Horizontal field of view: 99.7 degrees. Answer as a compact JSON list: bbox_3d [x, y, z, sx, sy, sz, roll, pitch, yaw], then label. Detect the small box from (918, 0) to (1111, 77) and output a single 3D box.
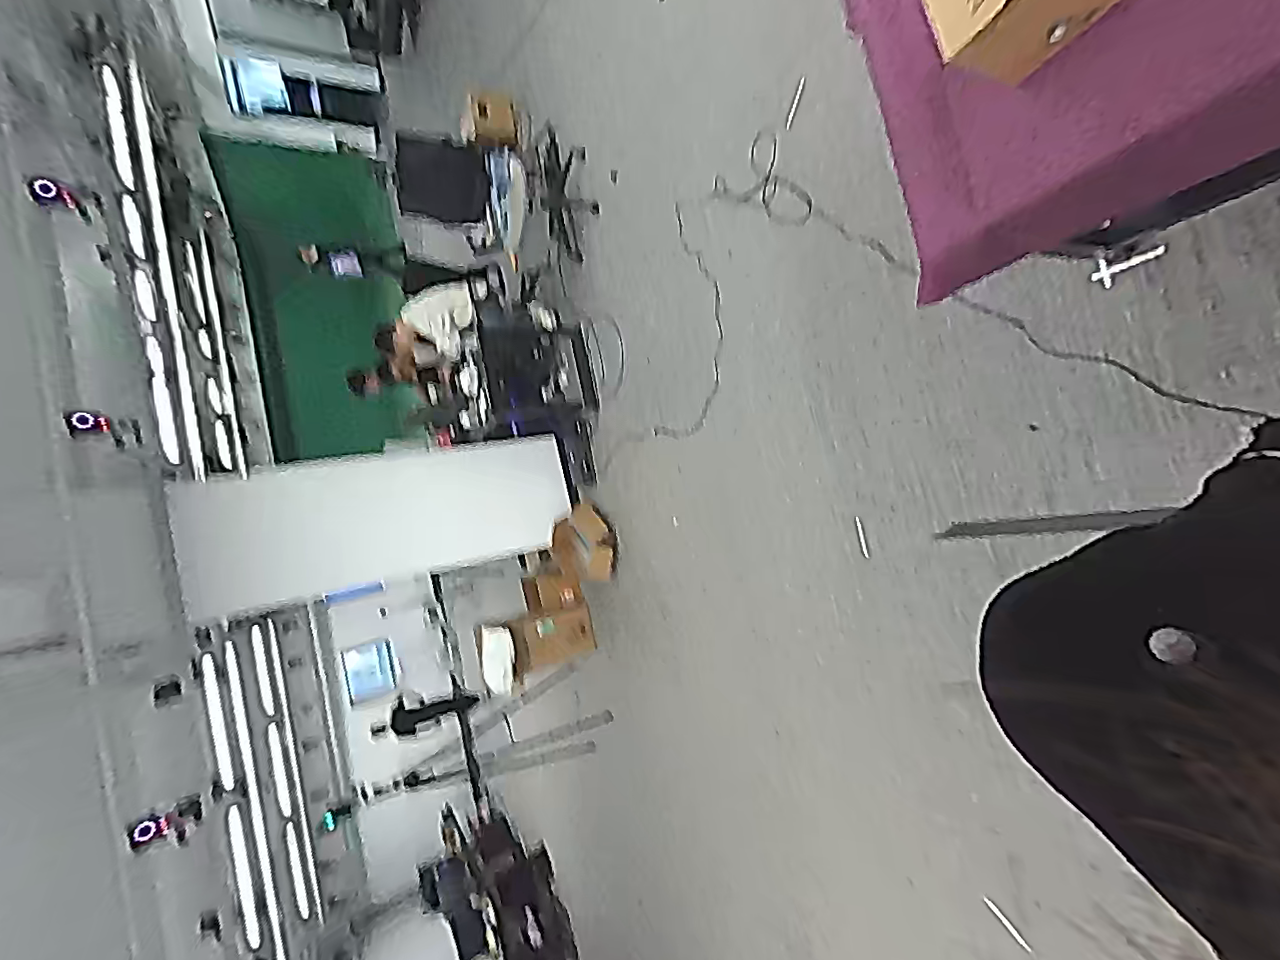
[{"bbox_3d":[0.478,-0.662,0.687,0.168,0.176,0.179,-27,76,60],"label":"small box"}]
